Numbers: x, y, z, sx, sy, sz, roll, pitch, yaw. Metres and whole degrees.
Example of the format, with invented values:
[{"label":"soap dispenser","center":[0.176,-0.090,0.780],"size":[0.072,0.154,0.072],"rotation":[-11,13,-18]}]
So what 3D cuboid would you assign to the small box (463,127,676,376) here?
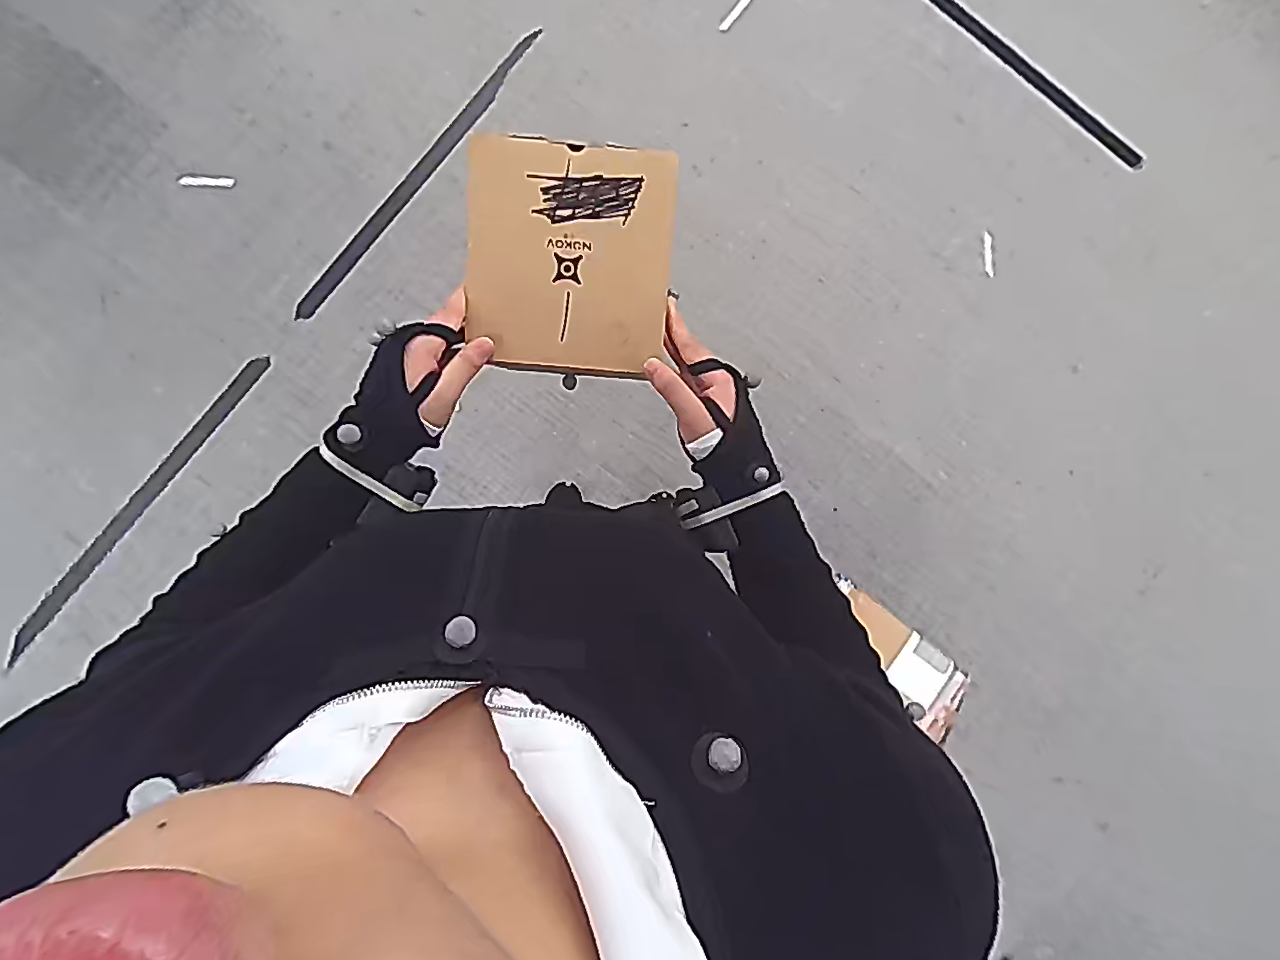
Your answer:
[{"label":"small box","center":[-0.061,-0.197,0.517],"size":[0.168,0.176,0.179],"rotation":[4,99,-2]}]
